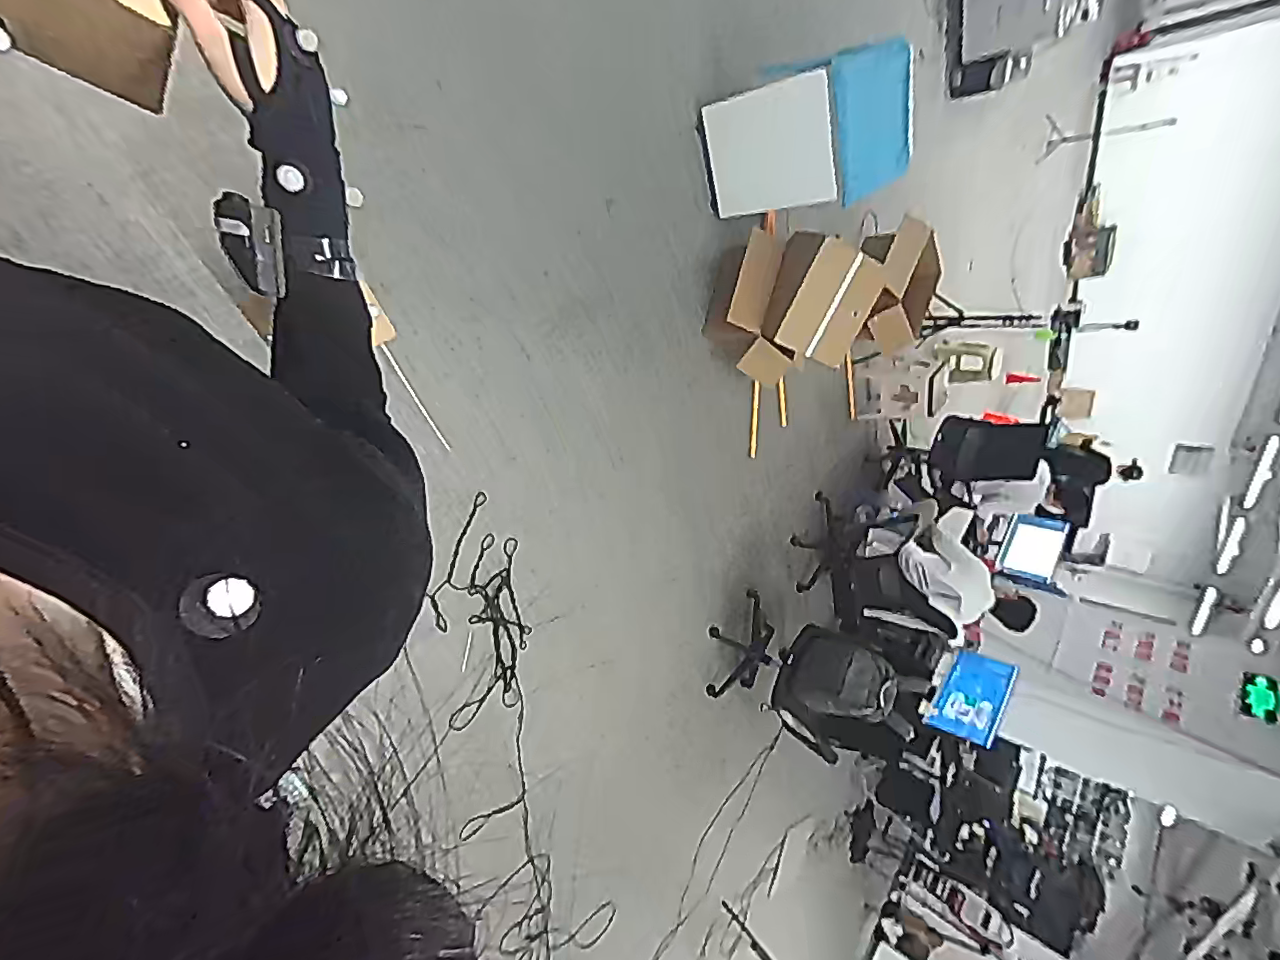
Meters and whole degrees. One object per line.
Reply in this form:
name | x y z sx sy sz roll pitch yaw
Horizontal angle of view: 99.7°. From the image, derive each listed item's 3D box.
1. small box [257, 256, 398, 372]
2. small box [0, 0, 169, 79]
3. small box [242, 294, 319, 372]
small box | -0.650 -0.341 1.122 0.168 0.176 0.179 -43 129 -29
small box | -0.387 -0.383 0.318 0.179 0.176 0.168 11 90 -46
small box | -0.764 -0.363 1.239 0.168 0.176 0.179 -44 129 -29
